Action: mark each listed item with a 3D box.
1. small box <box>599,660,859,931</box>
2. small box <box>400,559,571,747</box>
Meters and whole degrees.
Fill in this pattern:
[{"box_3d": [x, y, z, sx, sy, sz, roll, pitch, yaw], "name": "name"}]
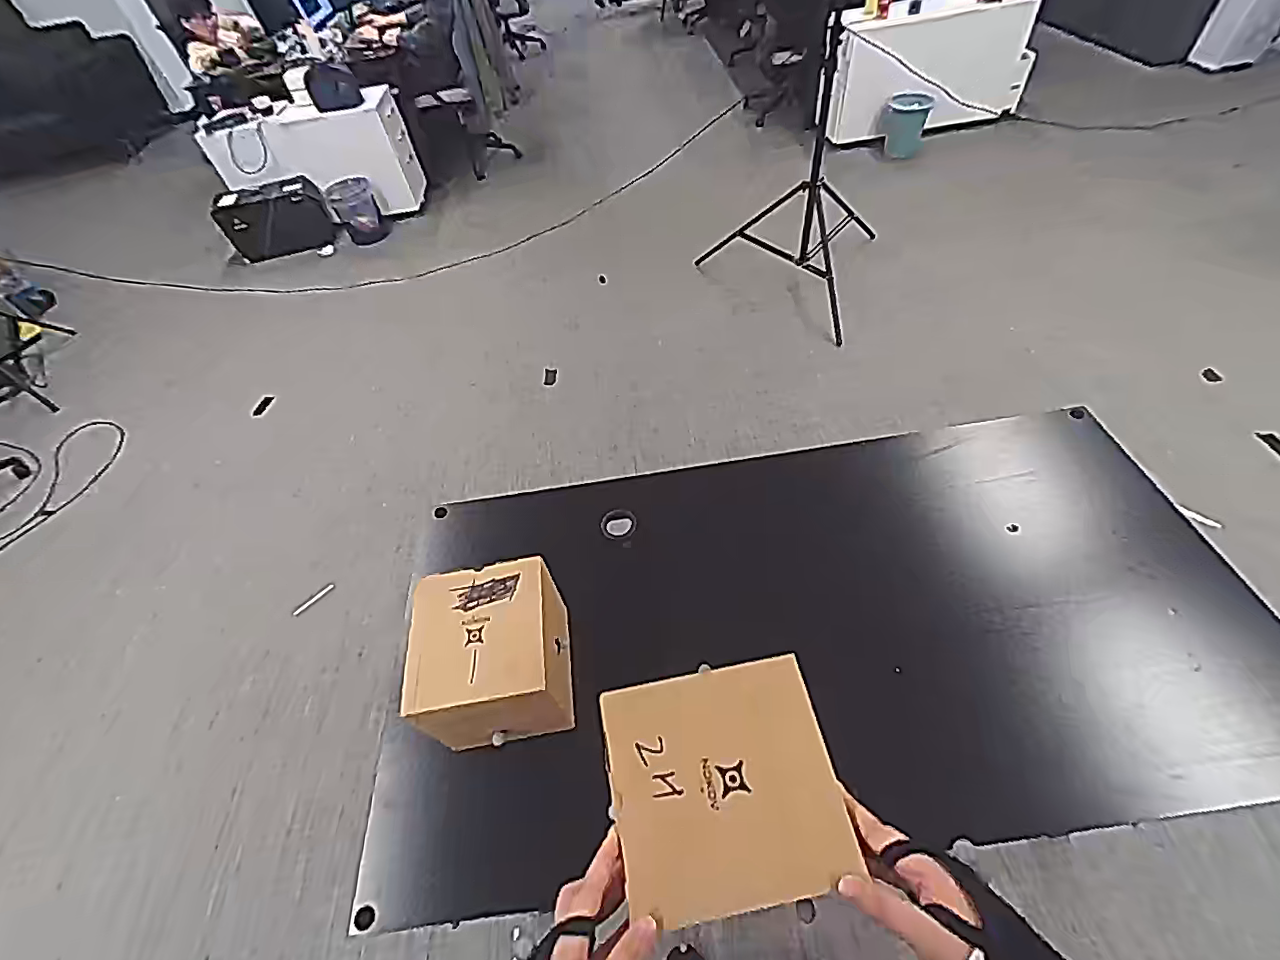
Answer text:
[{"box_3d": [0.066, 0.281, 0.496, 0.179, 0.176, 0.168, -11, 56, -2], "name": "small box"}, {"box_3d": [-0.191, 0.231, 0.716, 0.168, 0.176, 0.179, -10, 53, -1], "name": "small box"}]
